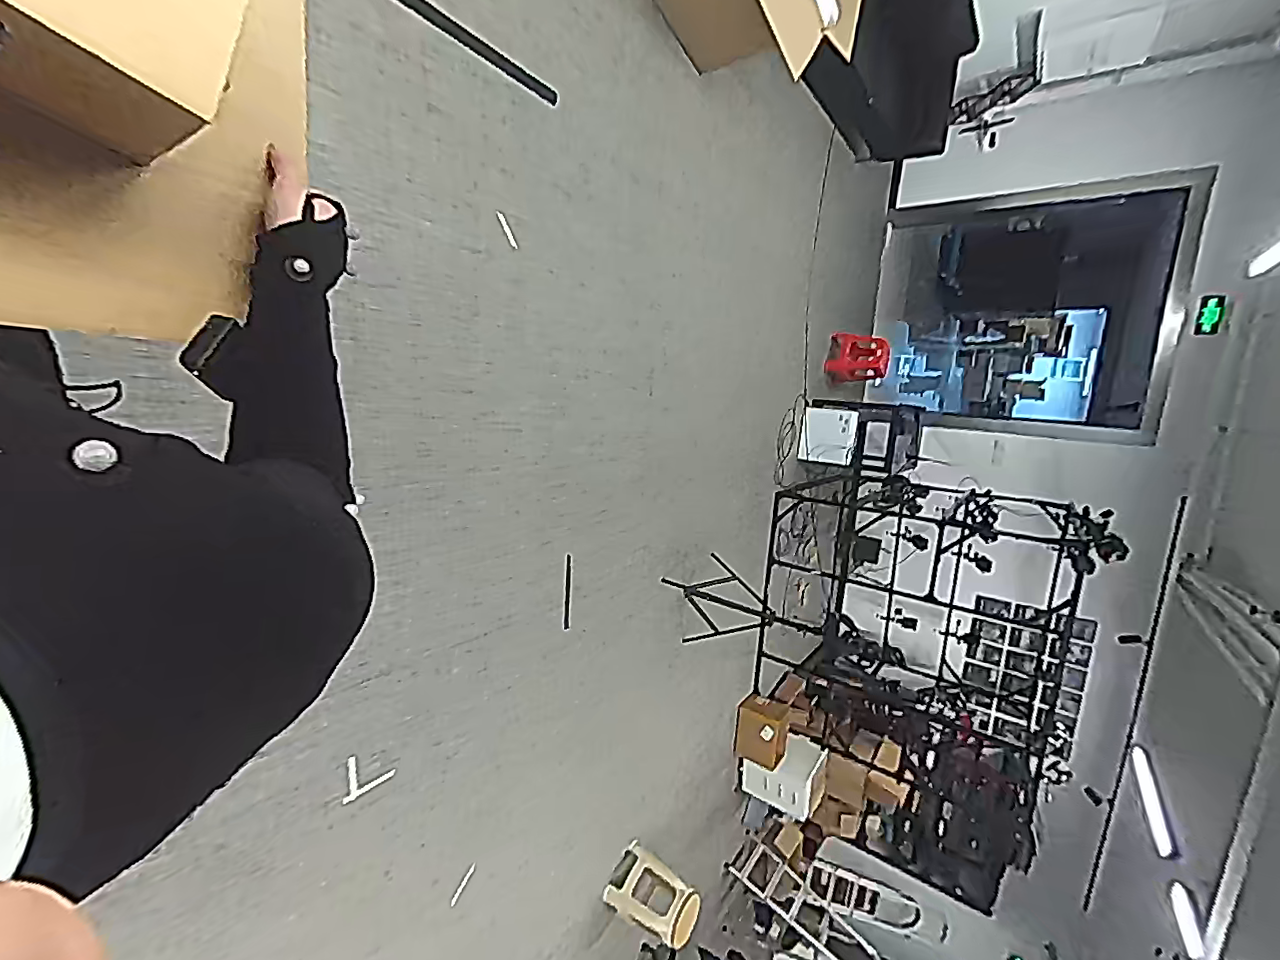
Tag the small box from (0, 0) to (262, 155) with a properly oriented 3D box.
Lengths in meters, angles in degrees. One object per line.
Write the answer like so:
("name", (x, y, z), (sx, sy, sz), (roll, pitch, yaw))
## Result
("small box", (-0.380, -0.346, 0.354), (0.179, 0.176, 0.168), (18, 86, -53))
